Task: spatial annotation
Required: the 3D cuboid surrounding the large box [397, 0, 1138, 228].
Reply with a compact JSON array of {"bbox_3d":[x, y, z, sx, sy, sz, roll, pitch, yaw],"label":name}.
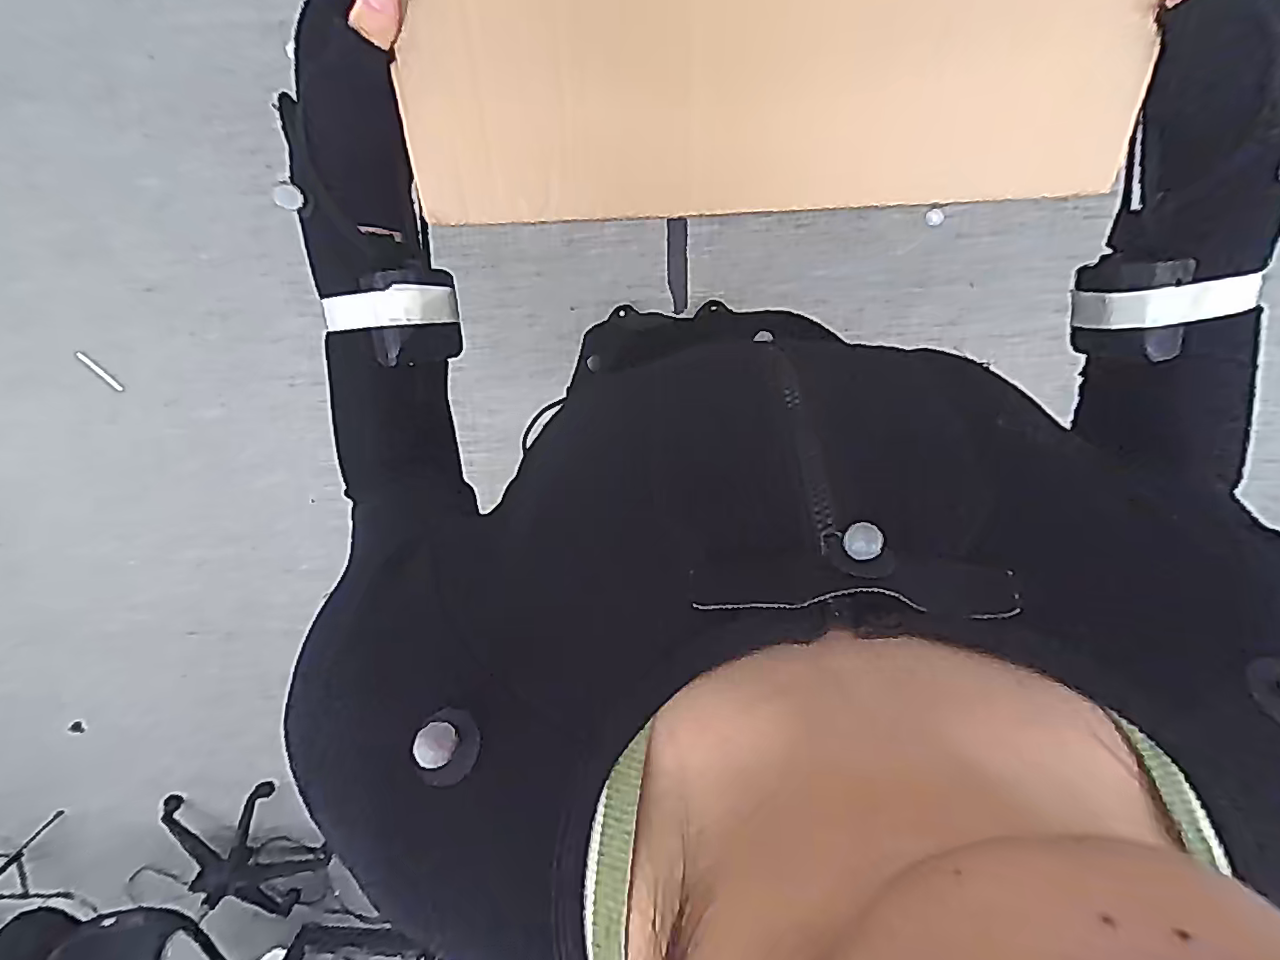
[{"bbox_3d":[0.071,-0.378,0.394,0.408,0.320,0.320,-1,119,4],"label":"large box"}]
